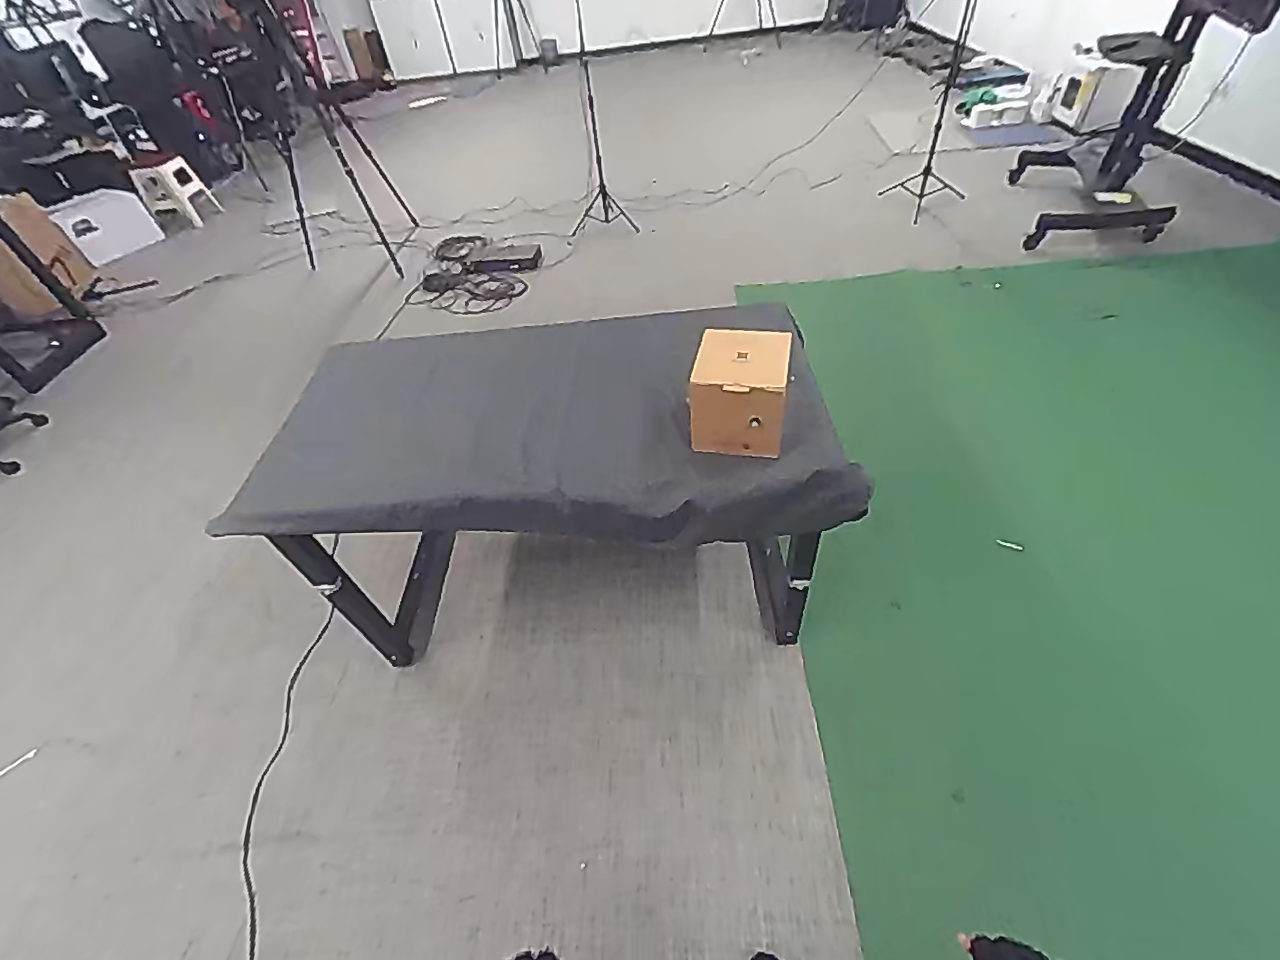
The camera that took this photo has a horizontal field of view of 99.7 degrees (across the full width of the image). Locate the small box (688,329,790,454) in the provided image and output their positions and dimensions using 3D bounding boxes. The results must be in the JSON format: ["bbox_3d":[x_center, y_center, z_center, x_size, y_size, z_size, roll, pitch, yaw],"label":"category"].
[{"bbox_3d":[0.191,-0.169,1.034,0.168,0.176,0.179,7,47,13],"label":"small box"}]
